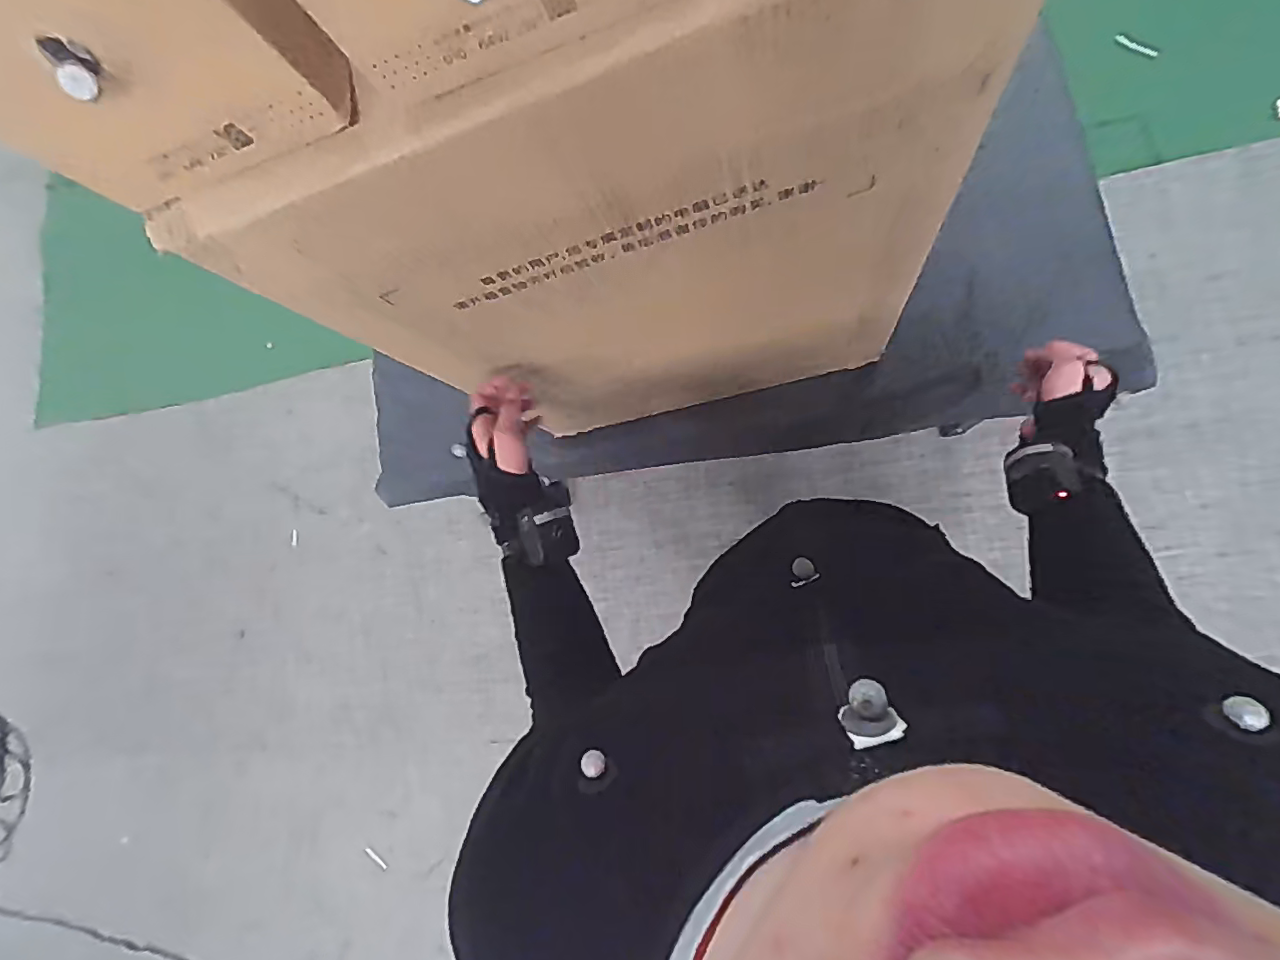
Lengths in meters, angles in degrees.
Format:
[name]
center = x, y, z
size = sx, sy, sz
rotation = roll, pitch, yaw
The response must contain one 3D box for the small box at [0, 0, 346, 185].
[small box]
center = -0.267, -0.273, 0.252
size = 0.168, 0.176, 0.179
rotation = -11, 82, 14
